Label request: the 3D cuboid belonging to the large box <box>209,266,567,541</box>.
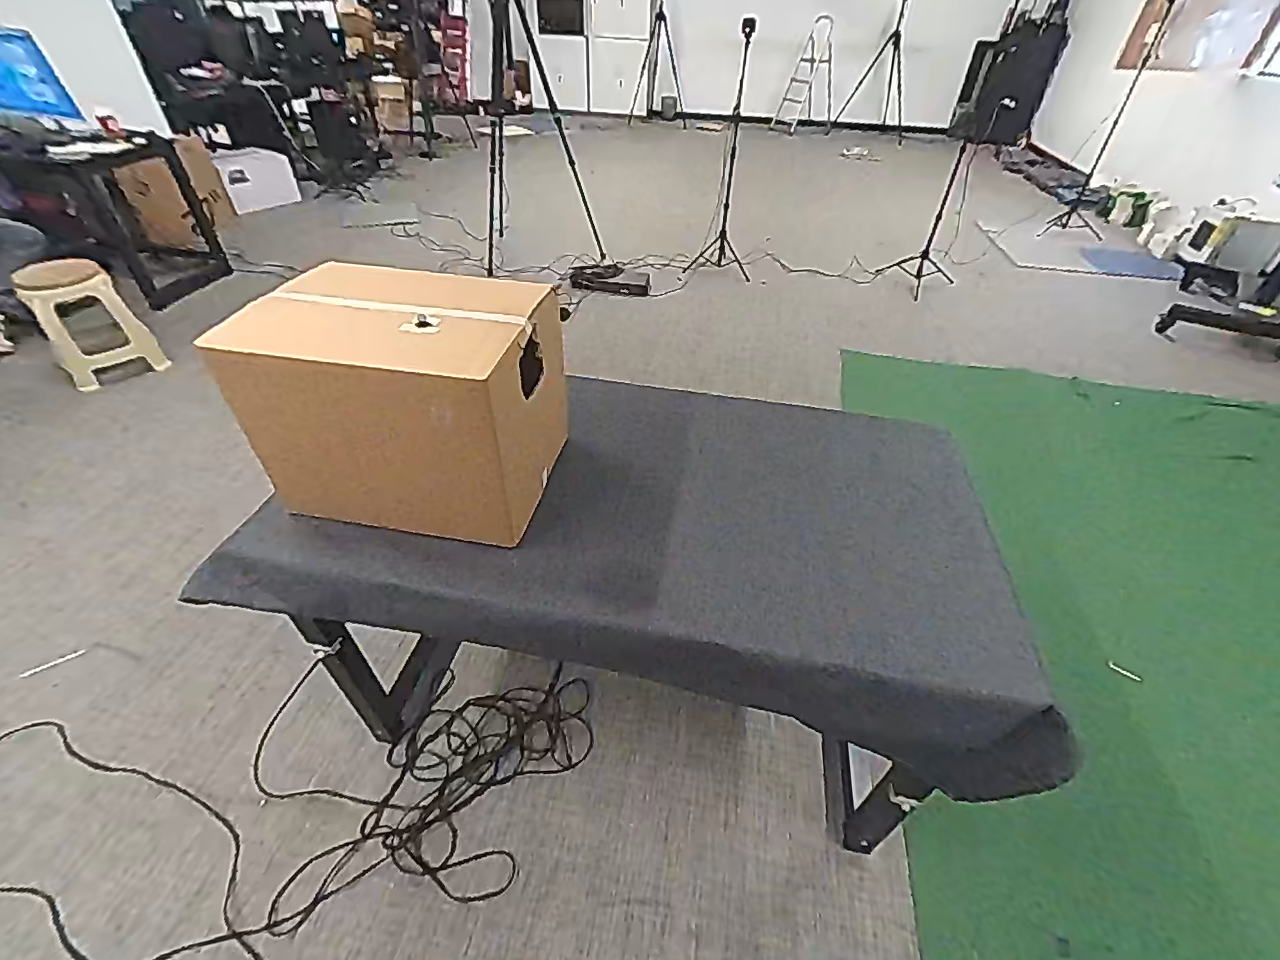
[{"bbox_3d":[-0.355,-0.131,0.894,0.408,0.320,0.320,8,42,5],"label":"large box"}]
